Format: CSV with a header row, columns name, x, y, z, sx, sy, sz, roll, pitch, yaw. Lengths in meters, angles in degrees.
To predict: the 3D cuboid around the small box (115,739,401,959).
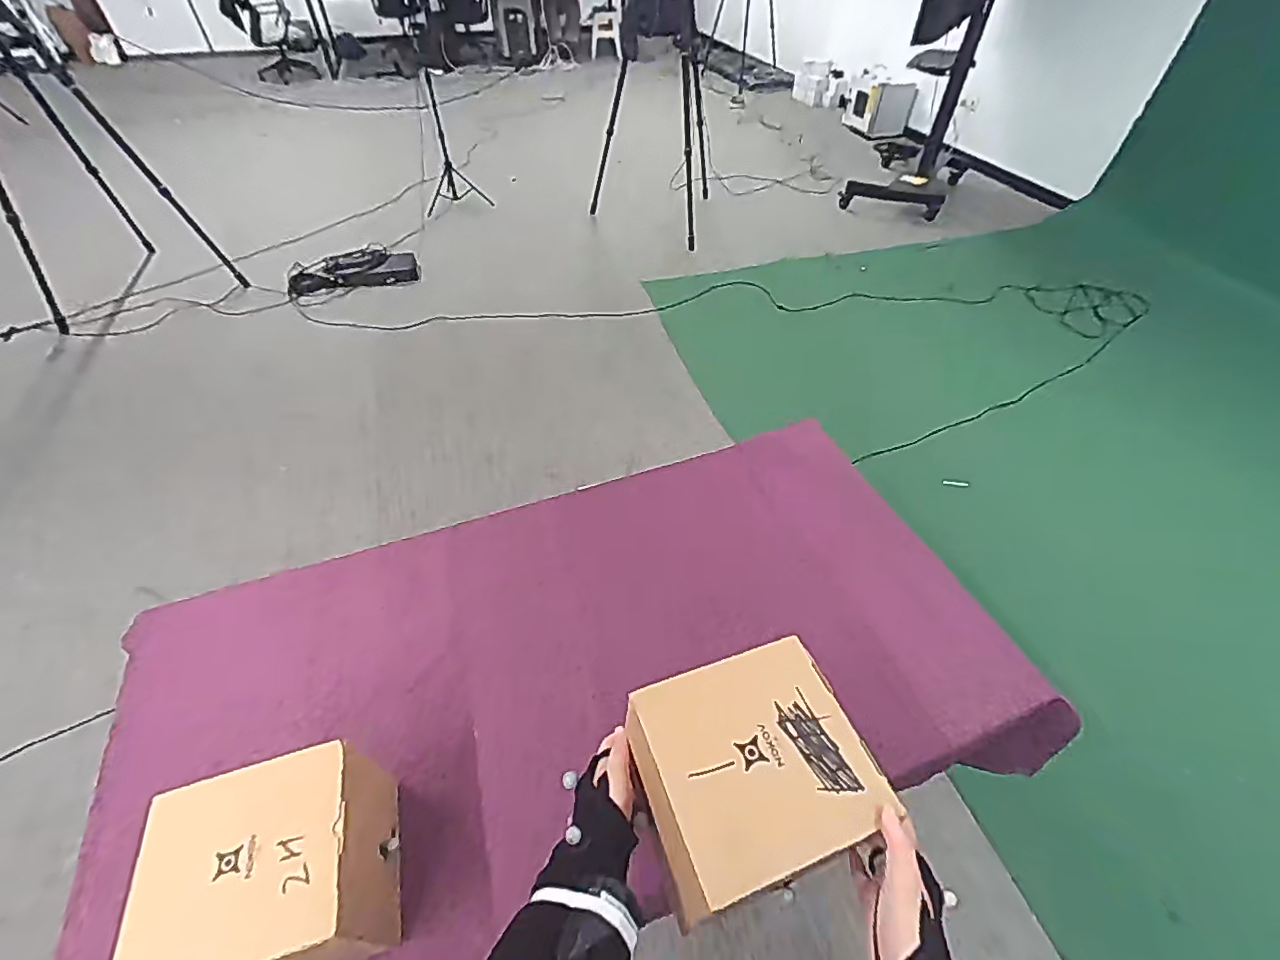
name,x,y,z,sx,sy,sz,roll,pitch,yaw
small box,-0.359,0.396,0.545,0.179,0.176,0.168,-13,49,-12
